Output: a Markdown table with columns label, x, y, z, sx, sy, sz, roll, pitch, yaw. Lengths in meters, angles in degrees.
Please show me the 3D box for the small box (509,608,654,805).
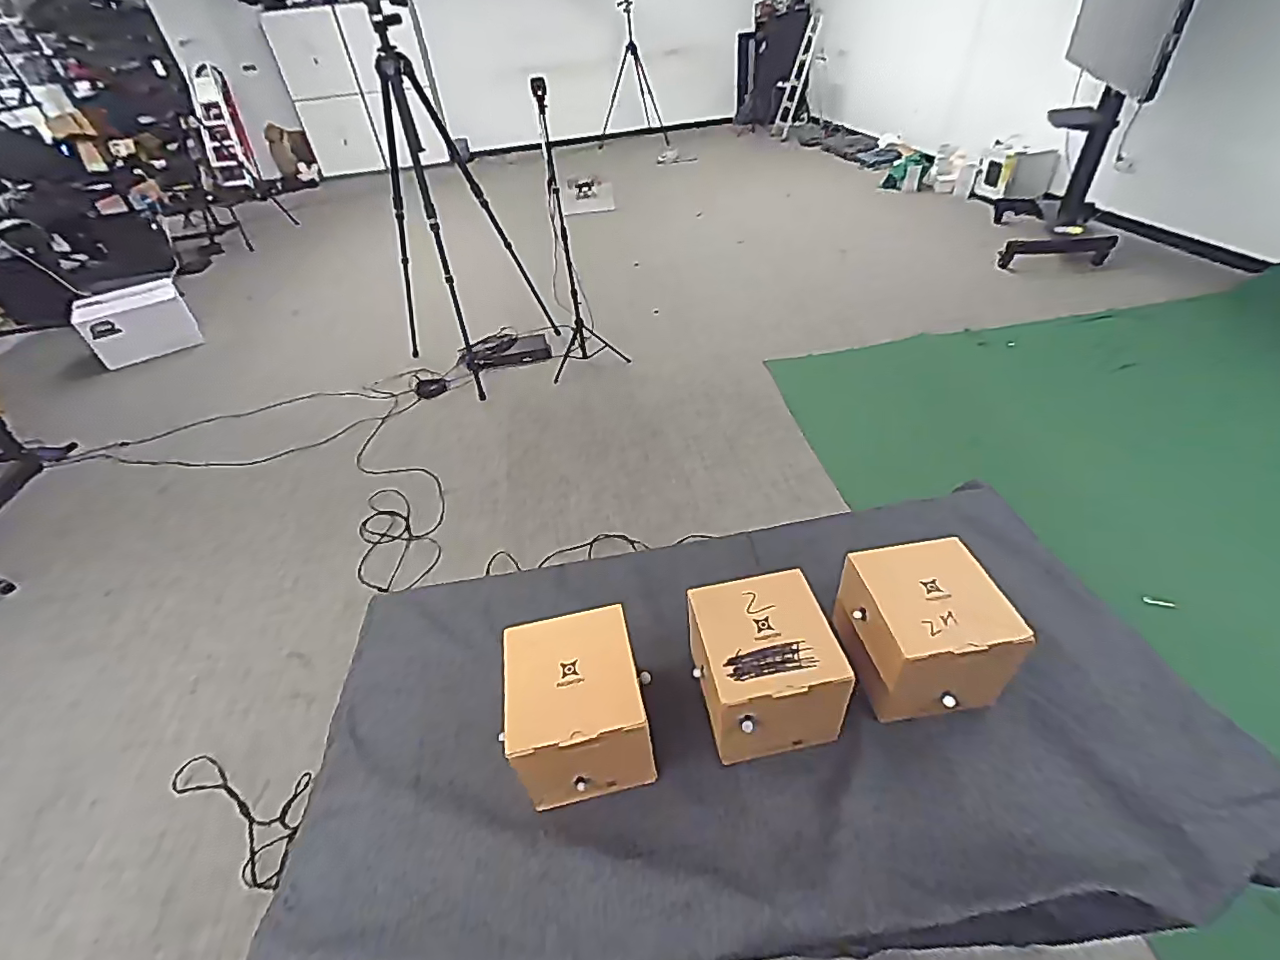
| label | x | y | z | sx | sy | sz | roll | pitch | yaw |
| --- | --- | --- | --- | --- | --- | --- | --- | --- | --- |
| small box | -0.080 | 0.309 | 0.742 | 0.168 | 0.176 | 0.179 | -11 | 41 | -5 |
